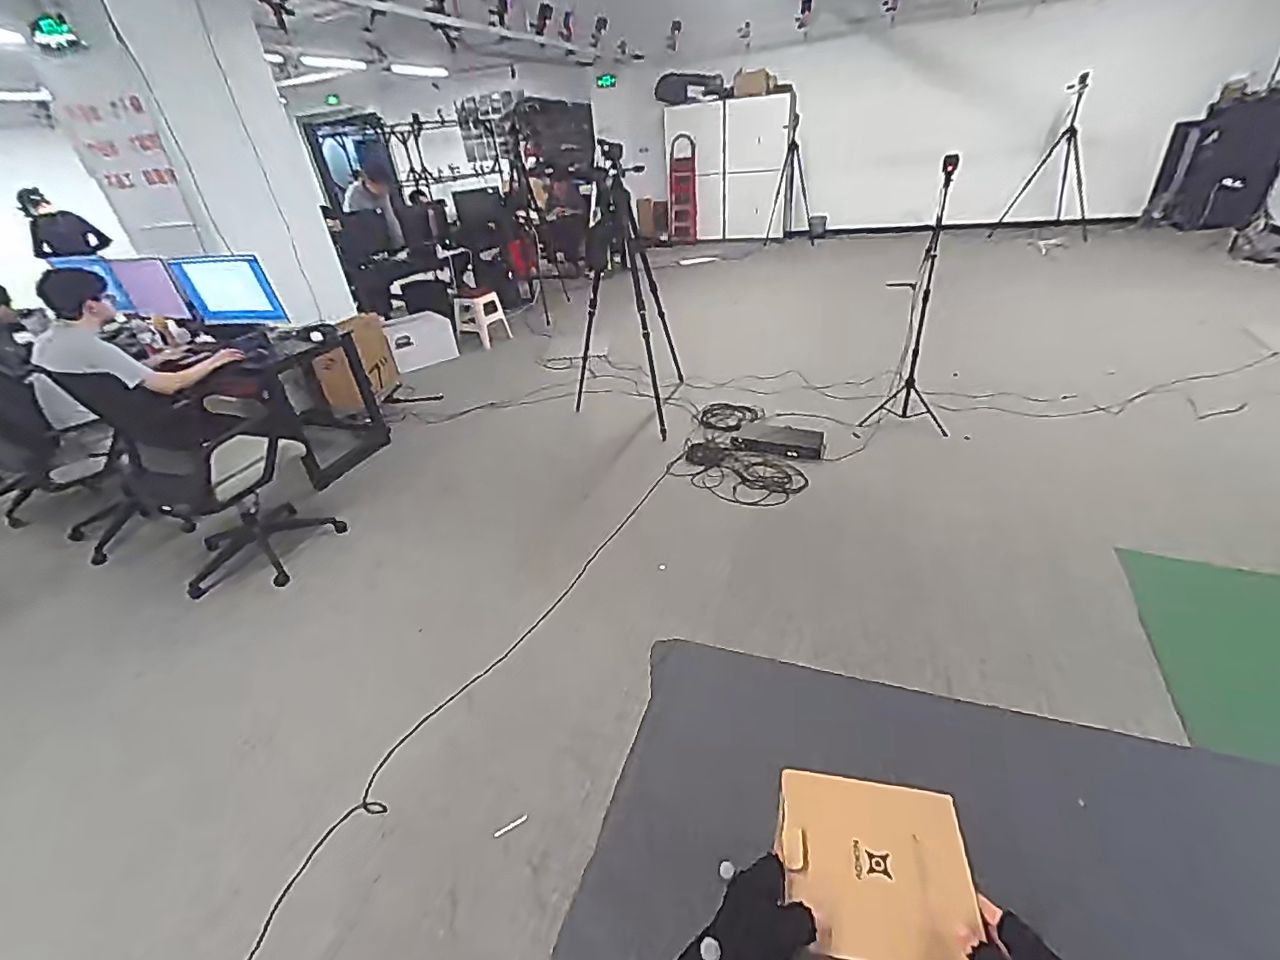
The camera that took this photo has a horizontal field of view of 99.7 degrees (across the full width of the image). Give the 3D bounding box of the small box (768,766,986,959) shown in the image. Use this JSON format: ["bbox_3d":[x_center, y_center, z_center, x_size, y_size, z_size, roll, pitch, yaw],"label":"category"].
[{"bbox_3d":[0.230,0.440,0.572,0.179,0.176,0.168,4,33,12],"label":"small box"}]
